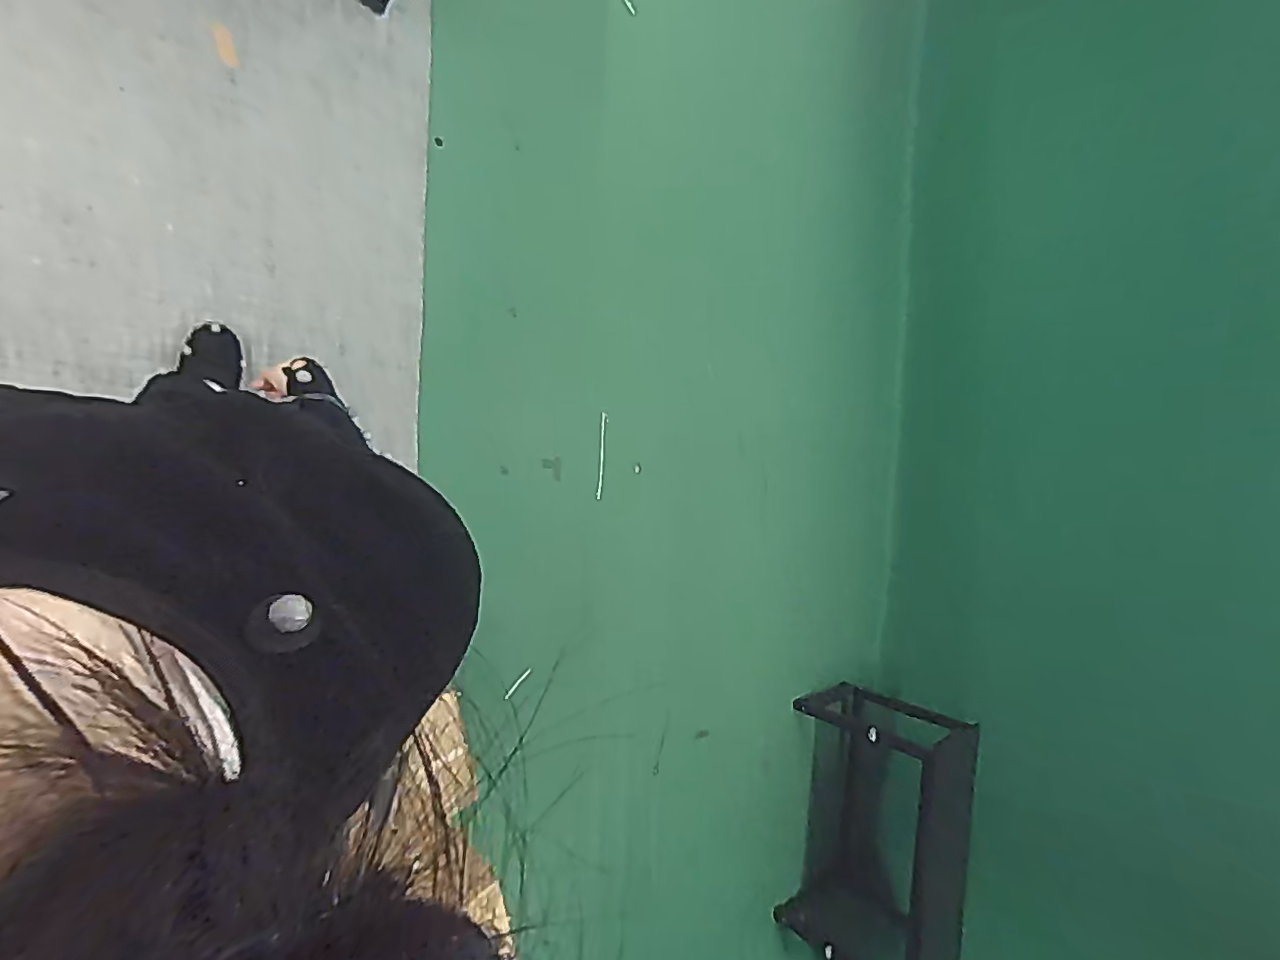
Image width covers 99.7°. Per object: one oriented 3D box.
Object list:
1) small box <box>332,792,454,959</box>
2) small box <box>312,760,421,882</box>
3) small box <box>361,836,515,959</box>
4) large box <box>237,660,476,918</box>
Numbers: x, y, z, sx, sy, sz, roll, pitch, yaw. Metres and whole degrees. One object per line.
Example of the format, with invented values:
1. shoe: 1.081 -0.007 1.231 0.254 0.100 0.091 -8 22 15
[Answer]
1. small box: -0.437 0.717 0.979 0.179 0.176 0.168 -18 104 -40
2. small box: -0.545 0.706 1.102 0.168 0.176 0.179 -16 103 -40
3. small box: -0.324 0.726 0.860 0.179 0.176 0.168 -17 104 -39
4. large box: -0.677 0.699 1.311 0.408 0.320 0.320 -18 106 -42
